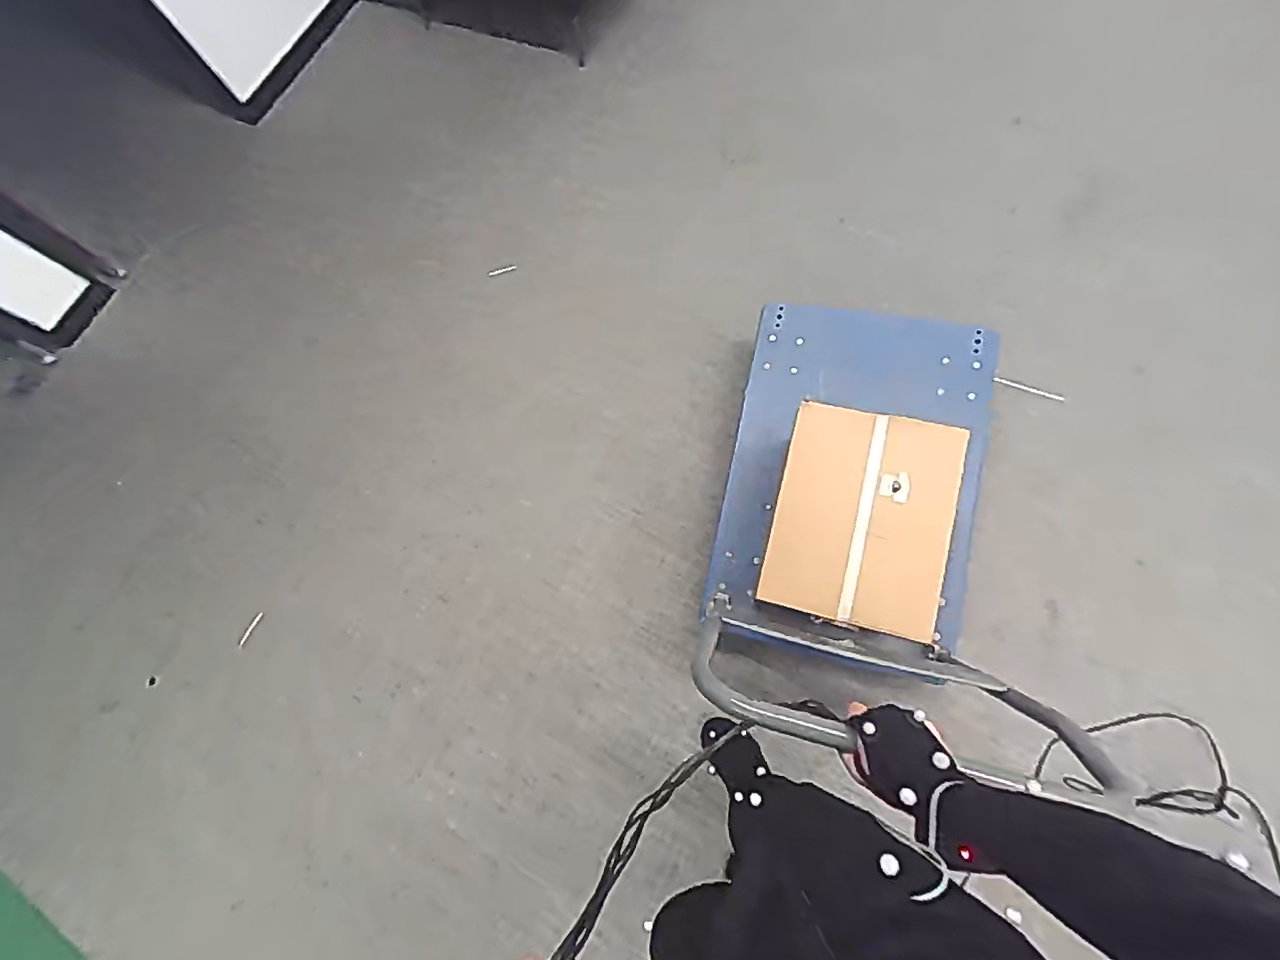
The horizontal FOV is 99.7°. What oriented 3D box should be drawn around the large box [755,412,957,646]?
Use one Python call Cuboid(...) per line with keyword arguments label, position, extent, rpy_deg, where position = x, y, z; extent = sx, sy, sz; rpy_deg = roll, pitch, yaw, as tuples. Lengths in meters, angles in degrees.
Cuboid(label="large box", position=(0.440, 0.113, 1.173), extent=(0.320, 0.320, 0.408), rpy_deg=(13, 80, 13))
